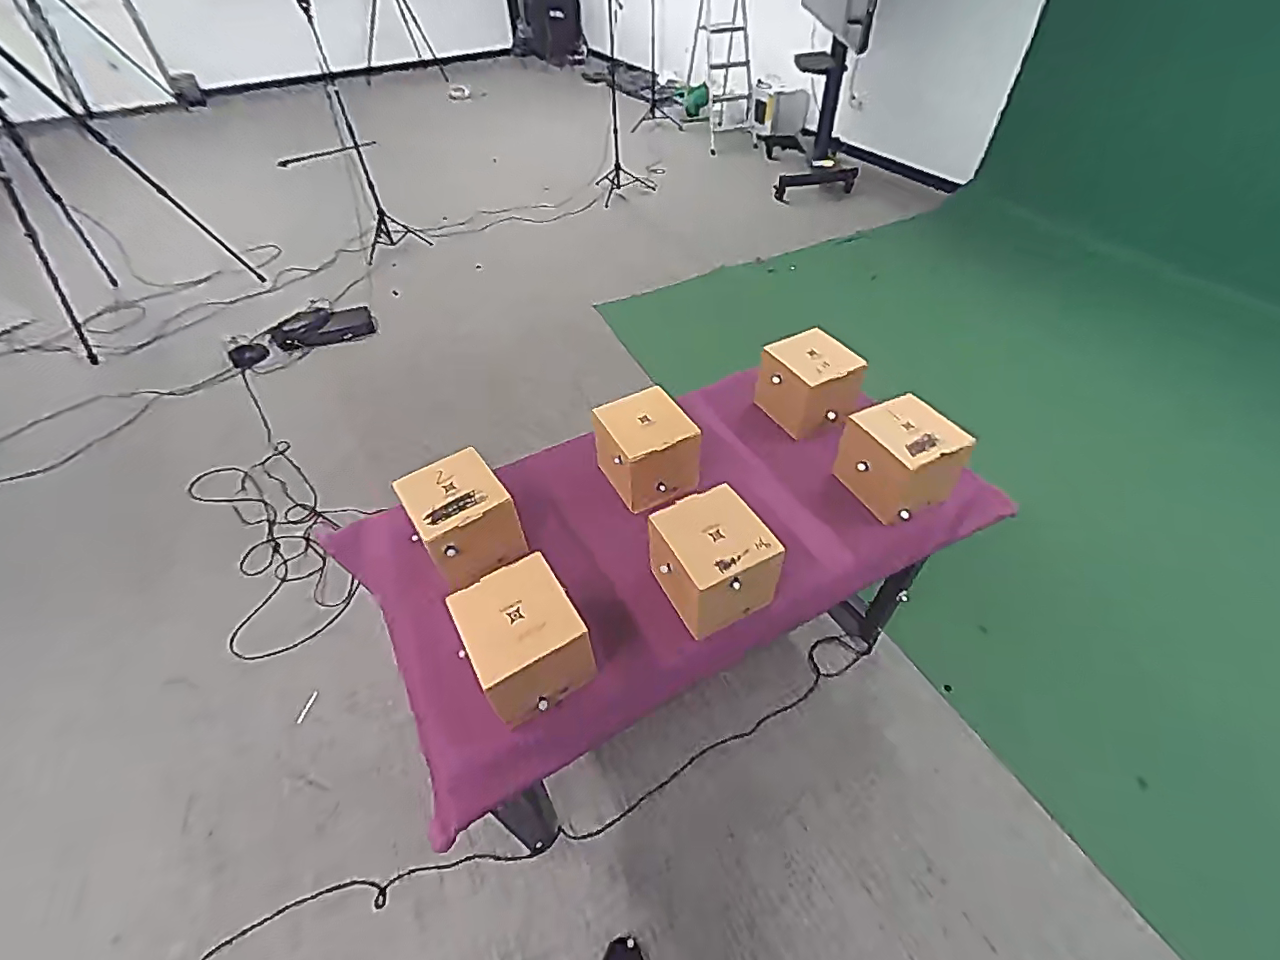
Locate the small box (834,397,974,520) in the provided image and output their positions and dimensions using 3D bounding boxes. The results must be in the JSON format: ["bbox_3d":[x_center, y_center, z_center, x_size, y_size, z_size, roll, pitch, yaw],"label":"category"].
[{"bbox_3d":[0.534,-0.038,1.121,0.168,0.176,0.179,-20,48,-15],"label":"small box"}]

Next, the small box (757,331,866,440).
[{"bbox_3d":[0.400,-0.226,1.299,0.168,0.176,0.179,-23,51,-17],"label":"small box"}]

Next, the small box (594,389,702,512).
[{"bbox_3d":[0.013,-0.063,1.166,0.168,0.176,0.179,-23,52,-18],"label":"small box"}]

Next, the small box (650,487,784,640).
[{"bbox_3d":[0.128,0.148,0.965,0.168,0.176,0.179,-22,49,-17],"label":"small box"}]
